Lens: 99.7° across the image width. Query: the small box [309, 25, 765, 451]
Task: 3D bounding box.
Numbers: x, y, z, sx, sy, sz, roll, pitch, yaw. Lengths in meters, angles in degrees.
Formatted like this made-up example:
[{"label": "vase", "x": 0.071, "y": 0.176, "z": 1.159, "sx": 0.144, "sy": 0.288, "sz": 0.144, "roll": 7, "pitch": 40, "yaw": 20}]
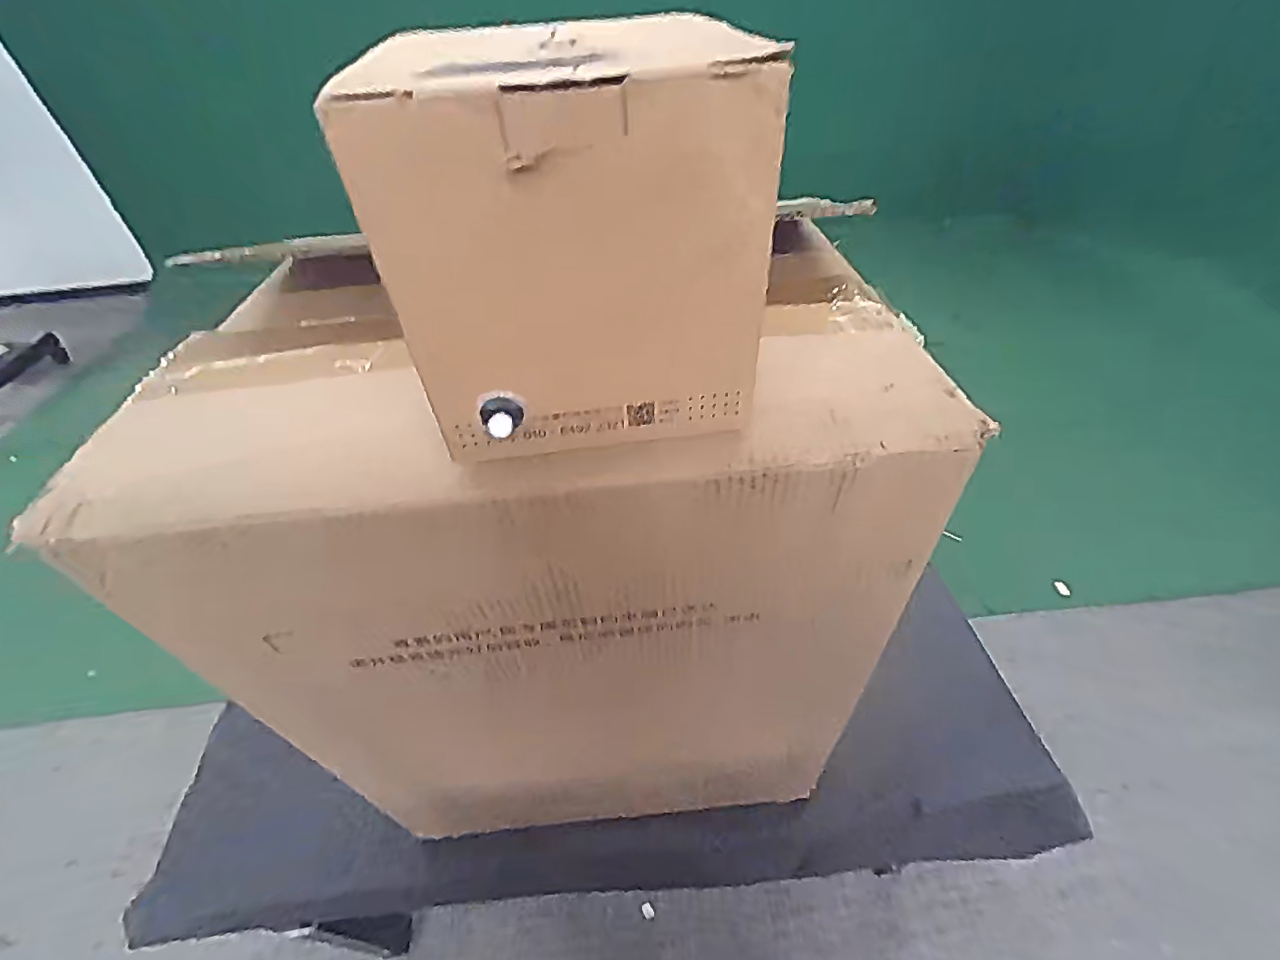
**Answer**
[{"label": "small box", "x": -0.038, "y": -0.129, "z": 0.302, "sx": 0.168, "sy": 0.176, "sz": 0.179, "roll": -7, "pitch": 44, "yaw": -3}]
